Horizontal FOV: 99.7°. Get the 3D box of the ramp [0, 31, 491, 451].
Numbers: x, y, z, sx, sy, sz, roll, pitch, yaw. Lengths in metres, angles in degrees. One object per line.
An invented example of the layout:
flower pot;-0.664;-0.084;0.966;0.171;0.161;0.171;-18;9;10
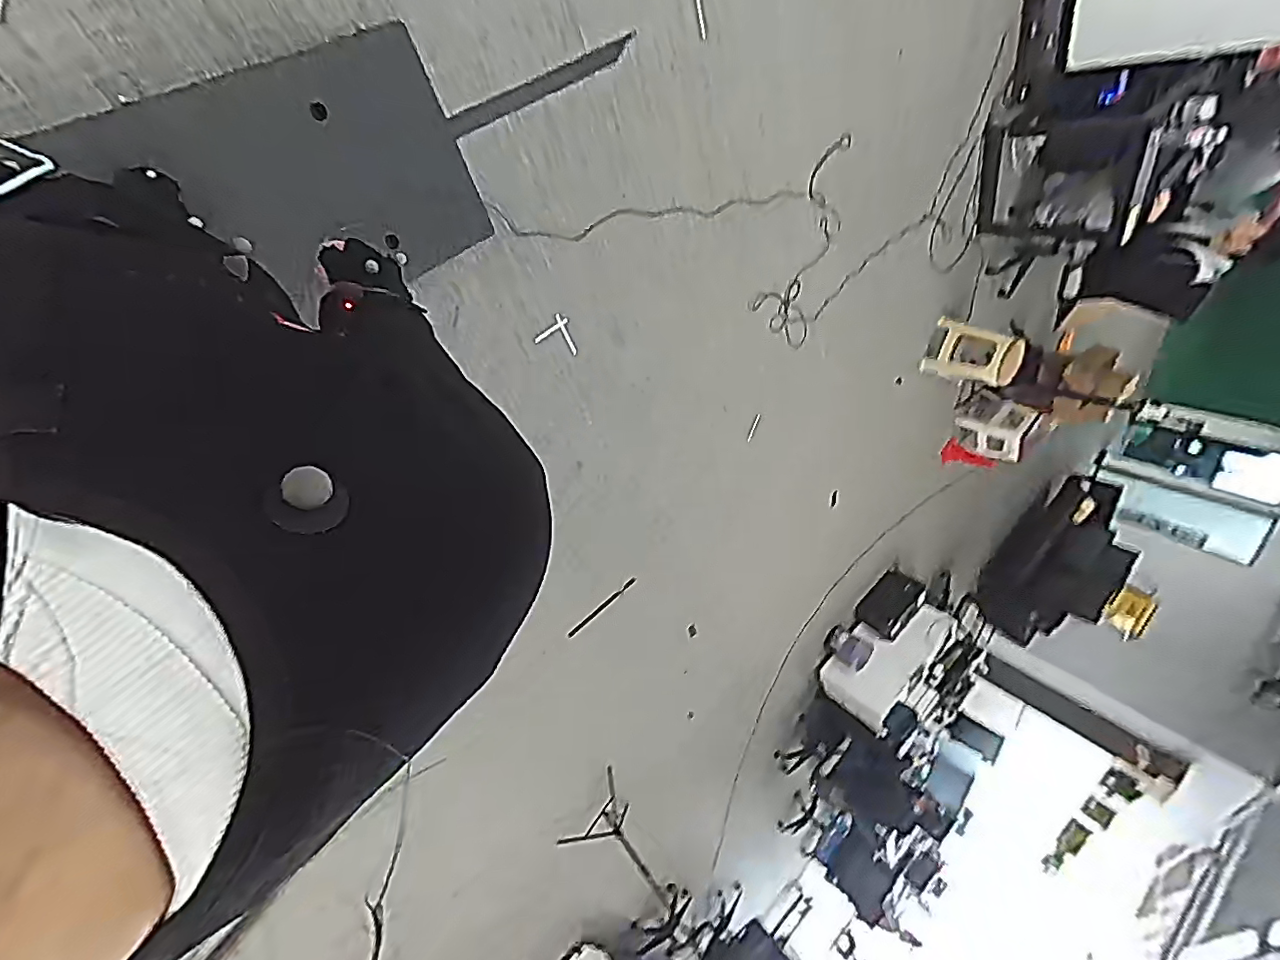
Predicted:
ramp;-0.804;-0.557;1.194;0.991;0.206;0.509;-42;131;-18
